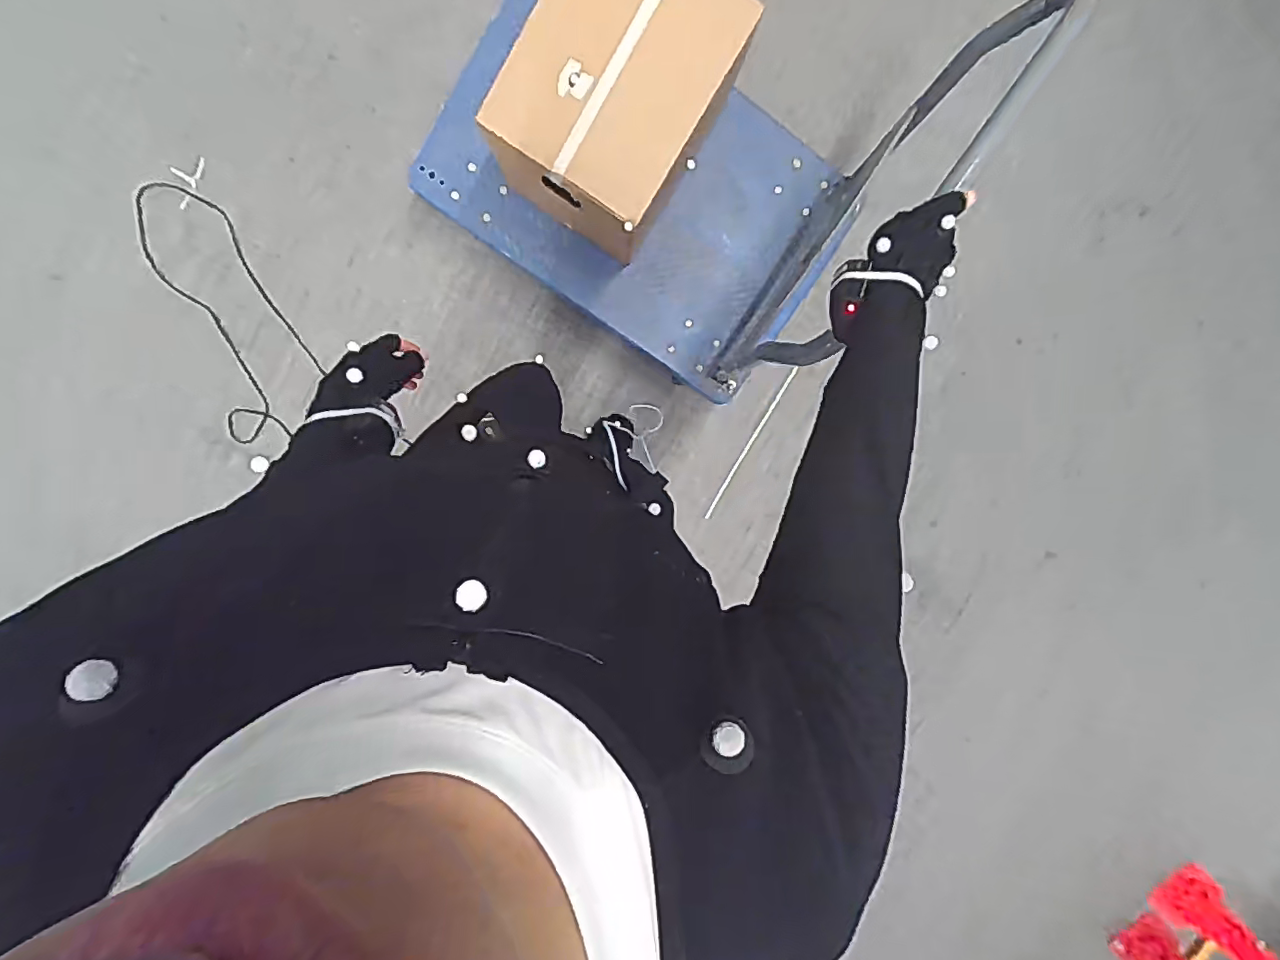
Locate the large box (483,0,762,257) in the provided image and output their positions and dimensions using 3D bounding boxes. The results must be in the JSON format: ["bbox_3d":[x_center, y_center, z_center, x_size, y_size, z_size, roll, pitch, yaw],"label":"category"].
[{"bbox_3d":[-0.036,-0.712,1.026,0.320,0.320,0.408,32,98,-7],"label":"large box"}]
